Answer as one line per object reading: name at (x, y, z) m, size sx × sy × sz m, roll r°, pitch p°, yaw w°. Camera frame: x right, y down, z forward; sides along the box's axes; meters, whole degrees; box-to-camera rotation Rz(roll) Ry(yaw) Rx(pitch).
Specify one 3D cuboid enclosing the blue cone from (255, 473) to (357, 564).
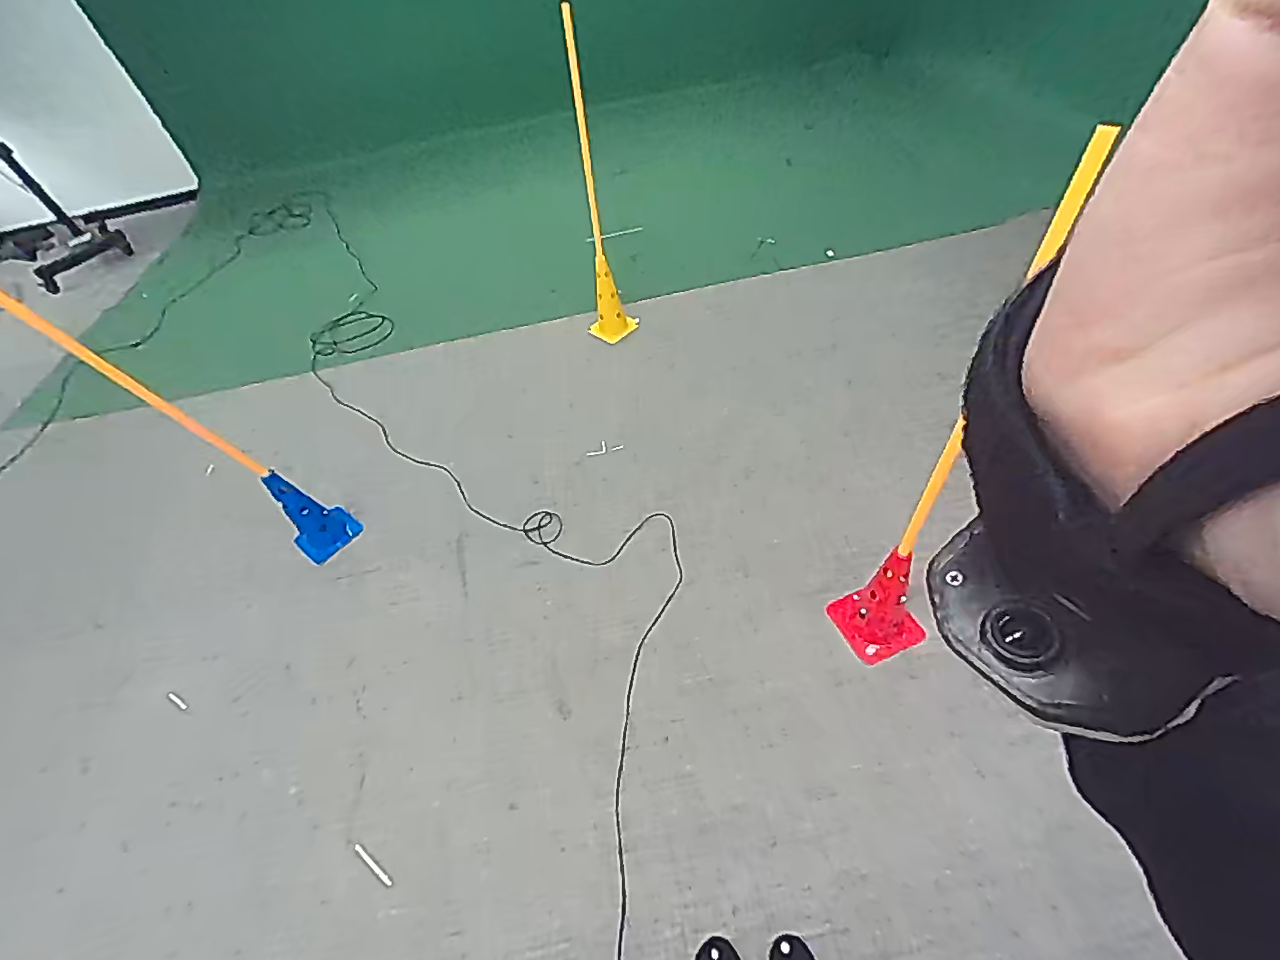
blue cone at (-1.176, 0.107, 1.859) m, size 0.192 × 0.380 × 0.193 m, roll 26°, pitch 61°, yaw 27°
